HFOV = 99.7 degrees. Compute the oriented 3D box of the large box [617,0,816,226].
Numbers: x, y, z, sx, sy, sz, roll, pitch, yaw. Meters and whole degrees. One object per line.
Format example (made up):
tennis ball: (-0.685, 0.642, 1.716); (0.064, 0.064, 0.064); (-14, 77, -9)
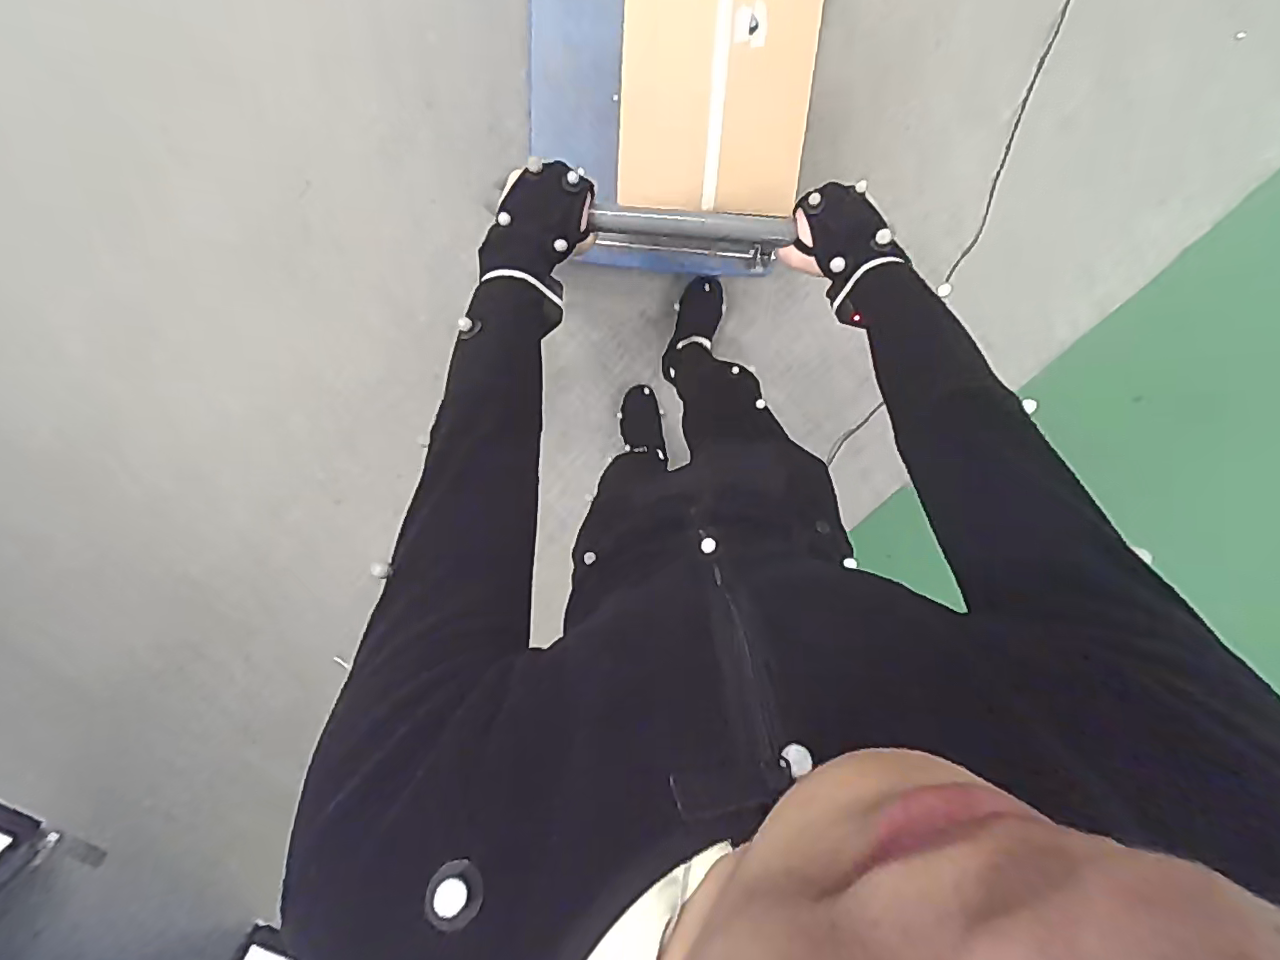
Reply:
large box: (0.120, -0.724, 1.035); (0.320, 0.320, 0.408); (2, 110, -3)
